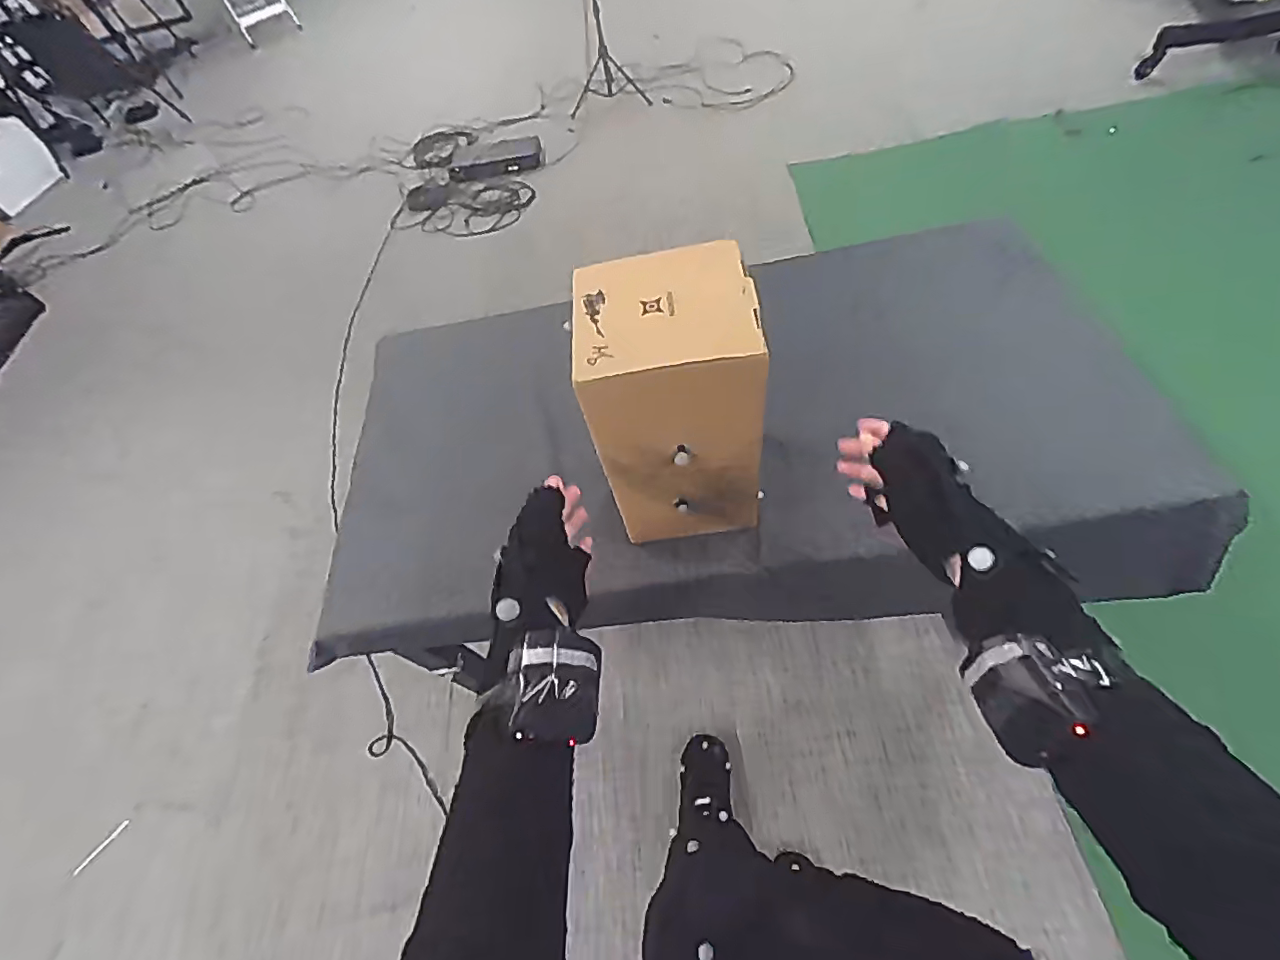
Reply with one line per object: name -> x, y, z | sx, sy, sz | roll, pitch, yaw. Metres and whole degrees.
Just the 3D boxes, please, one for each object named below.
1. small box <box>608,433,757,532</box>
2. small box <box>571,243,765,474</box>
small box -> 0.056, -0.043, 0.725 | 0.179, 0.176, 0.168 | -6, 56, 7
small box -> 0.030, -0.124, 0.587 | 0.179, 0.176, 0.168 | -7, 56, 5
